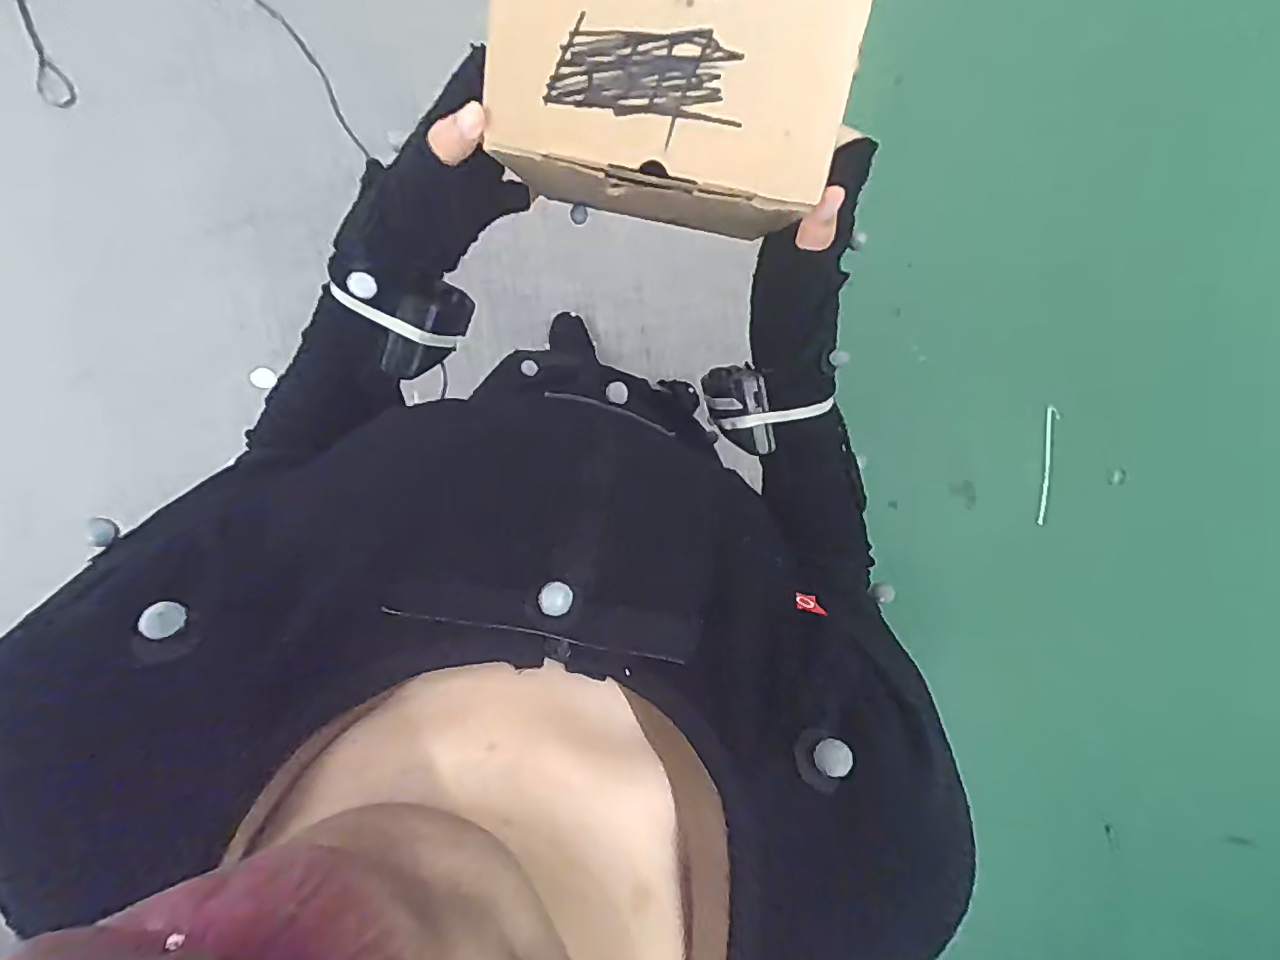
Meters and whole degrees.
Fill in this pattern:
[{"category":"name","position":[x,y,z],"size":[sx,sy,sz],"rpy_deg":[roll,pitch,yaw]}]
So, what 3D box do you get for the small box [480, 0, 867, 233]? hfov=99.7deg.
[{"category":"small box","position":[0.020,-0.251,0.306],"size":[0.168,0.176,0.179],"rpy_deg":[10,108,-3]}]
